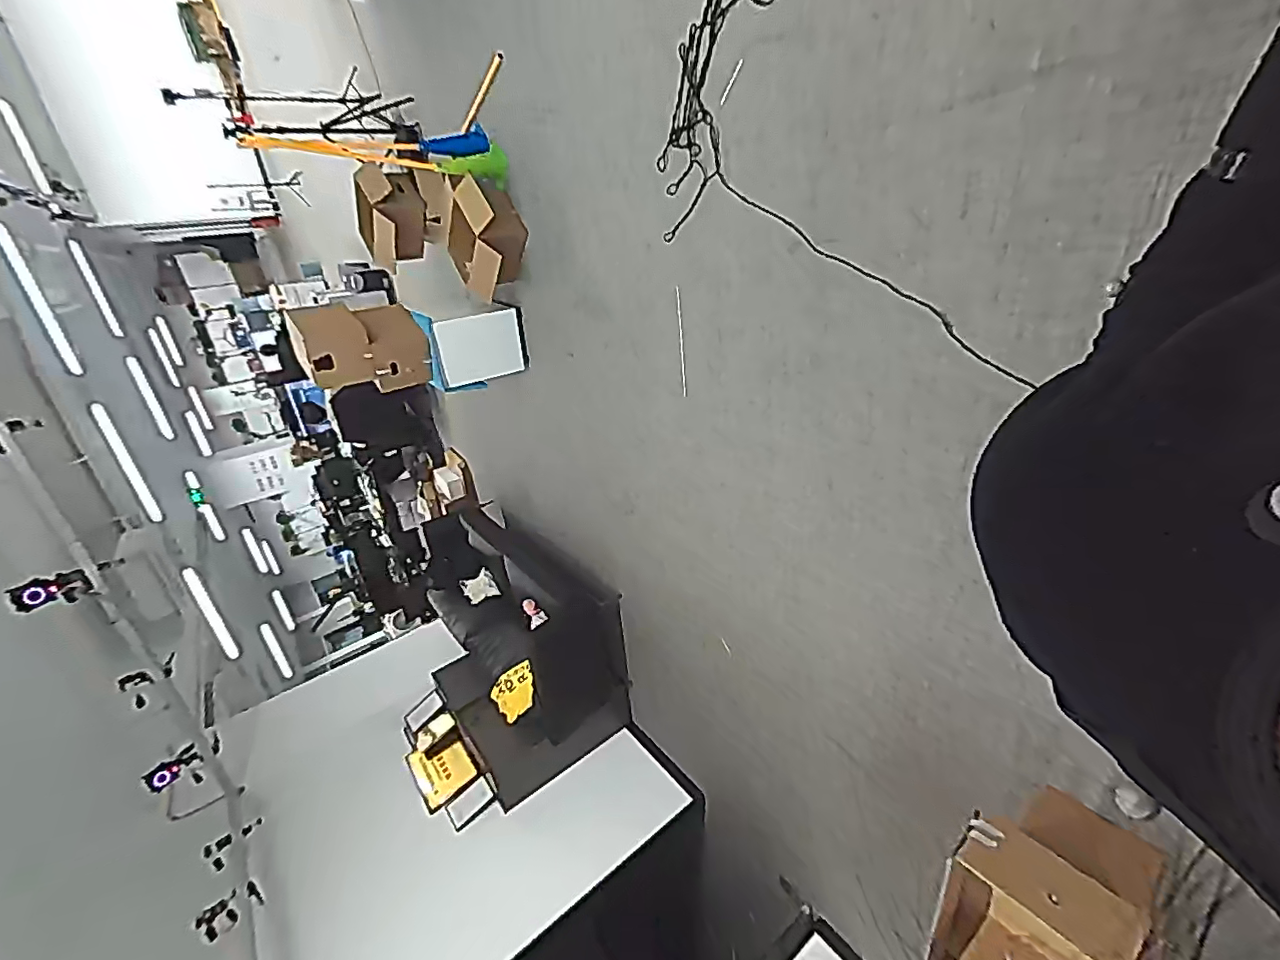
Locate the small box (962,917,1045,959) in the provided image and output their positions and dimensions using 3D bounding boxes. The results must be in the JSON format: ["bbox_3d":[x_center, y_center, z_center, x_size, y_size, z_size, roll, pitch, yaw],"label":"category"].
[{"bbox_3d":[0.941,1.294,1.390,0.168,0.176,0.179,20,122,51],"label":"small box"}]
